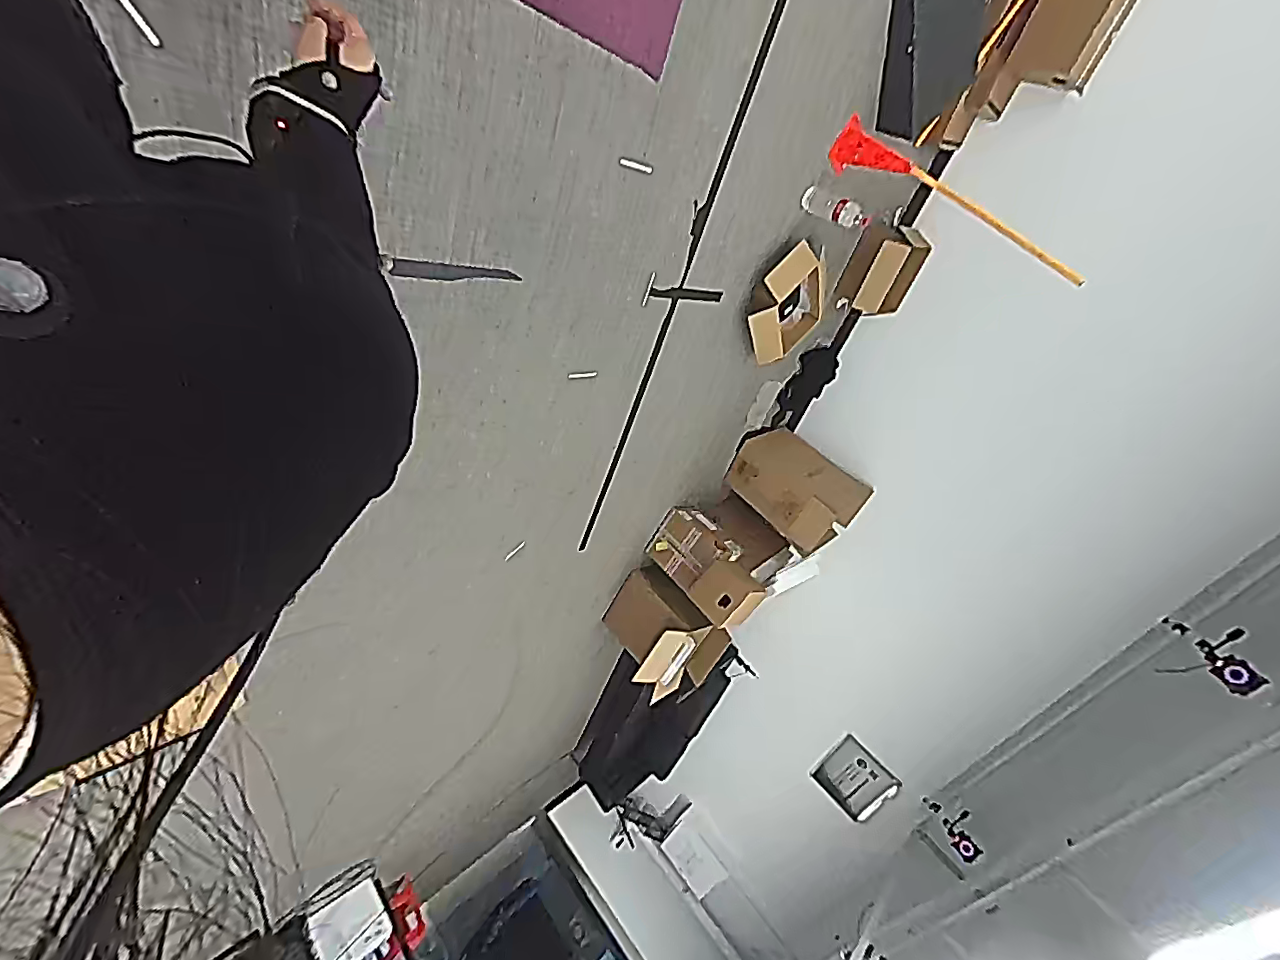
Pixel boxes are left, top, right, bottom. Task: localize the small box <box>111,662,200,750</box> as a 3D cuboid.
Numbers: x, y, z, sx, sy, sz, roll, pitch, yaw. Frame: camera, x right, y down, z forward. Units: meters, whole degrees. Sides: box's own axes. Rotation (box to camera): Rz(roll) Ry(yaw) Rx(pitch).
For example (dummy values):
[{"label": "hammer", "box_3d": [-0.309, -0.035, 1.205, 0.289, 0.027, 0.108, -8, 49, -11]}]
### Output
[{"label": "small box", "box_3d": [-1.532, 0.704, 1.712, 0.168, 0.176, 0.179, -20, 141, -42]}]
